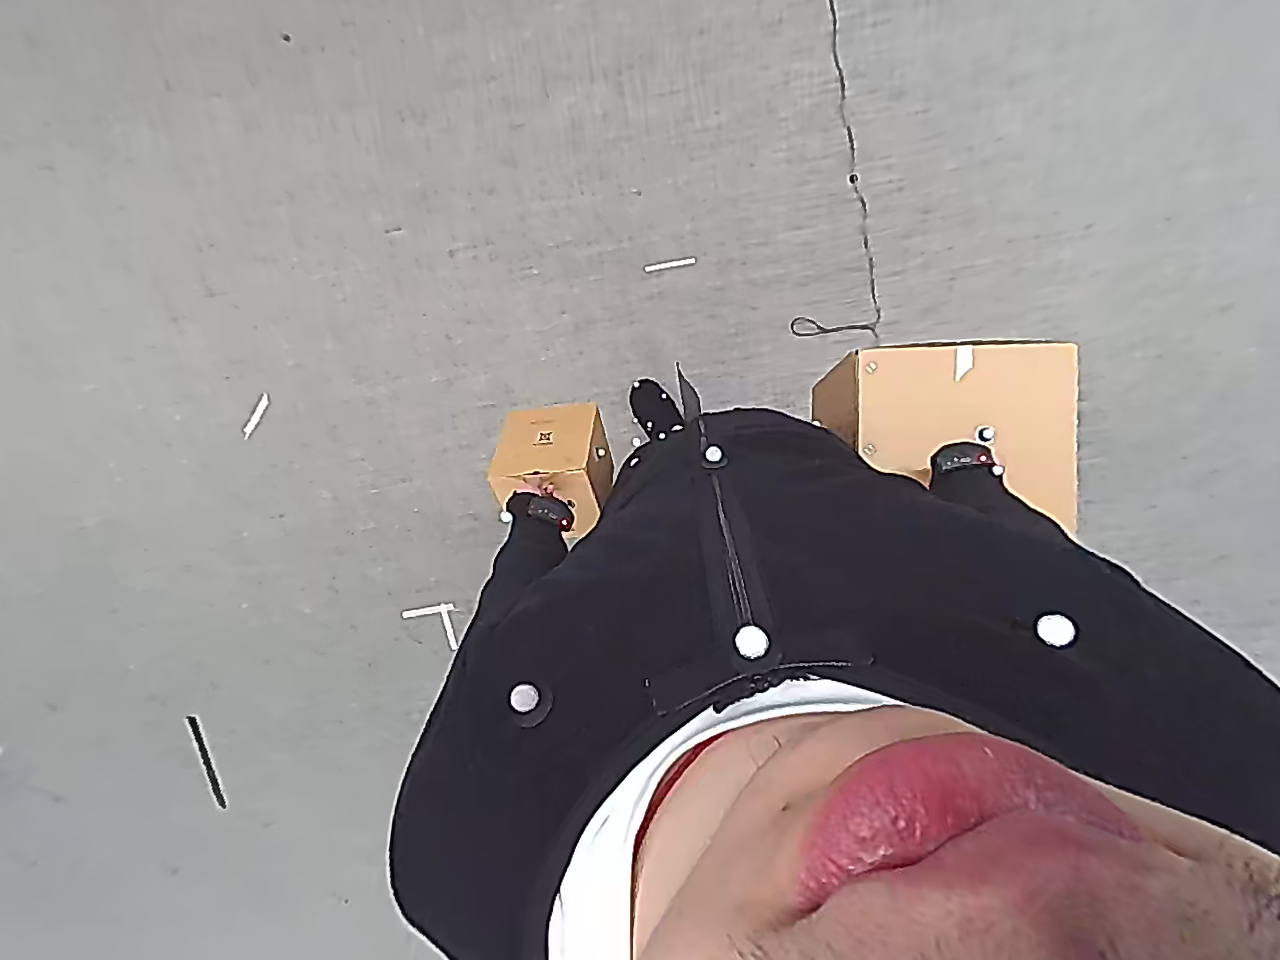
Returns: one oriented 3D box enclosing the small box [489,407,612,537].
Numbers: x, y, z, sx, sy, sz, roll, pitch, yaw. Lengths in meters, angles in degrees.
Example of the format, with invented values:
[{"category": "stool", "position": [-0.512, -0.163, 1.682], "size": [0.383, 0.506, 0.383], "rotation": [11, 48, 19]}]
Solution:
[{"category": "small box", "position": [-0.150, -0.008, 0.981], "size": [0.168, 0.179, 0.176], "rotation": [-4, 133, 8]}]
